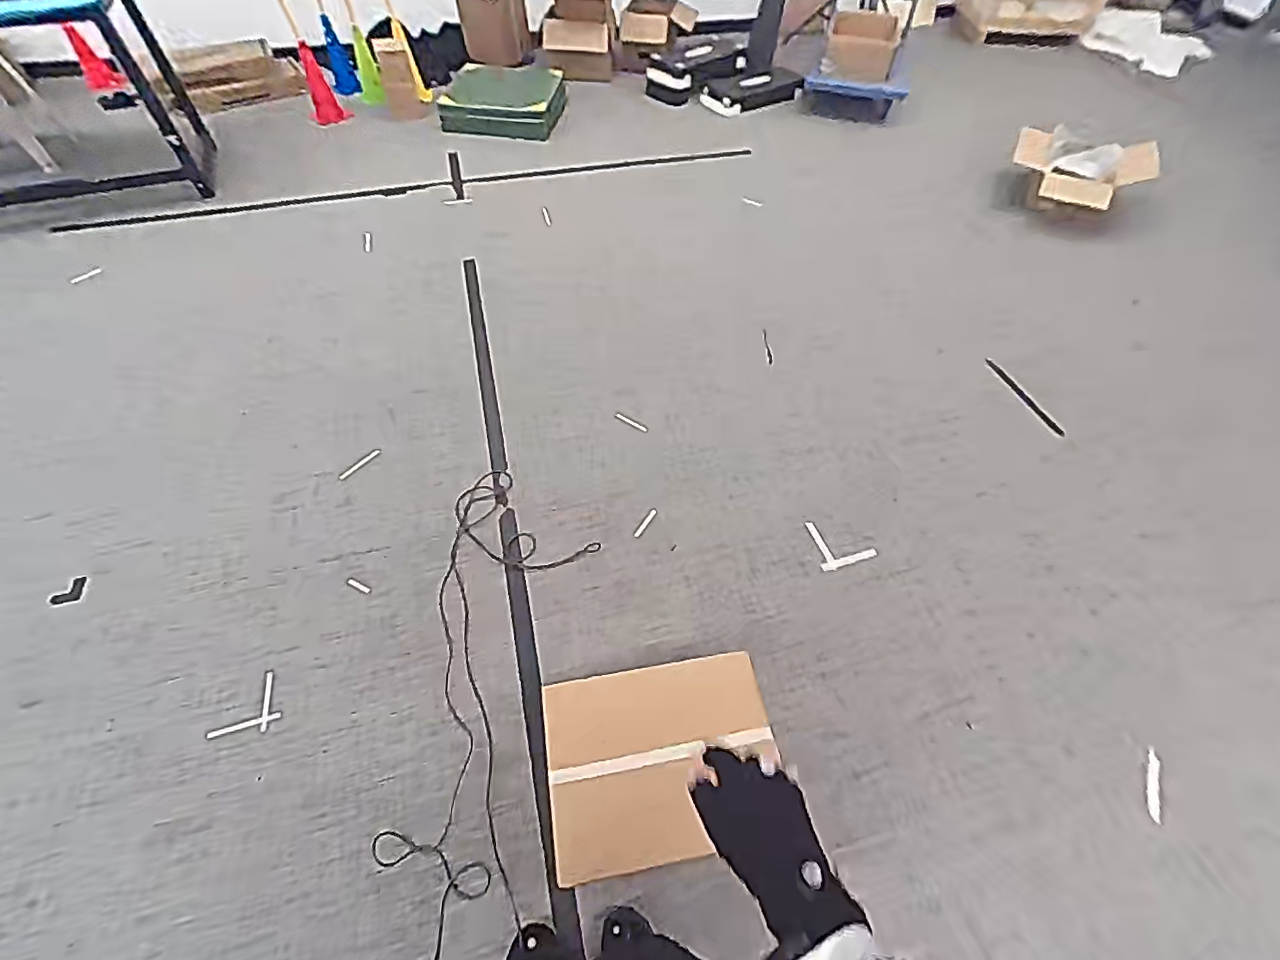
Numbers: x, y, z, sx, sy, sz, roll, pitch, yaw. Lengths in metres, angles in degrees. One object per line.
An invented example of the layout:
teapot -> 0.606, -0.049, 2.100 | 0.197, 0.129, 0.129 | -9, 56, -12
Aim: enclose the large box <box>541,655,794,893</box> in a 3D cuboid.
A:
large box -> 0.033, 0.582, 1.076 | 0.408, 0.320, 0.320 | -7, 53, -8
